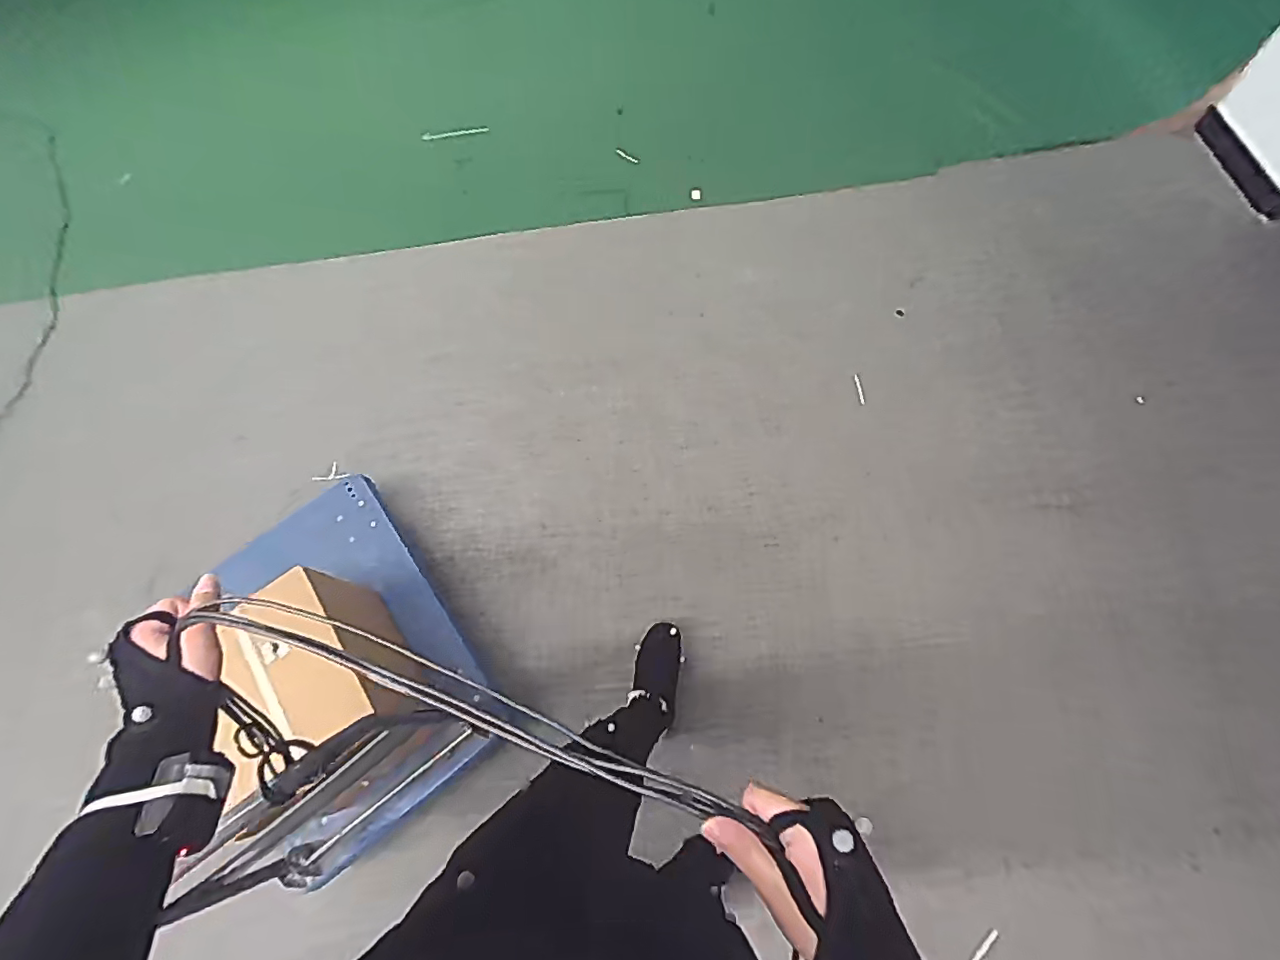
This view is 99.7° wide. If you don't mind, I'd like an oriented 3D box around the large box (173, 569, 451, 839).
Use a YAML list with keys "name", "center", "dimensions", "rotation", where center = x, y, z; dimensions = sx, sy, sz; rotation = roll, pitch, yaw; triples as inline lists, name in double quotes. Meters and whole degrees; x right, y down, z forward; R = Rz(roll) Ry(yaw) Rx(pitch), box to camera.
- name: "large box"
  center: [-0.695, 0.471, 1.186]
  dimensions: [0.320, 0.320, 0.408]
  rotation: [-37, 67, -10]
